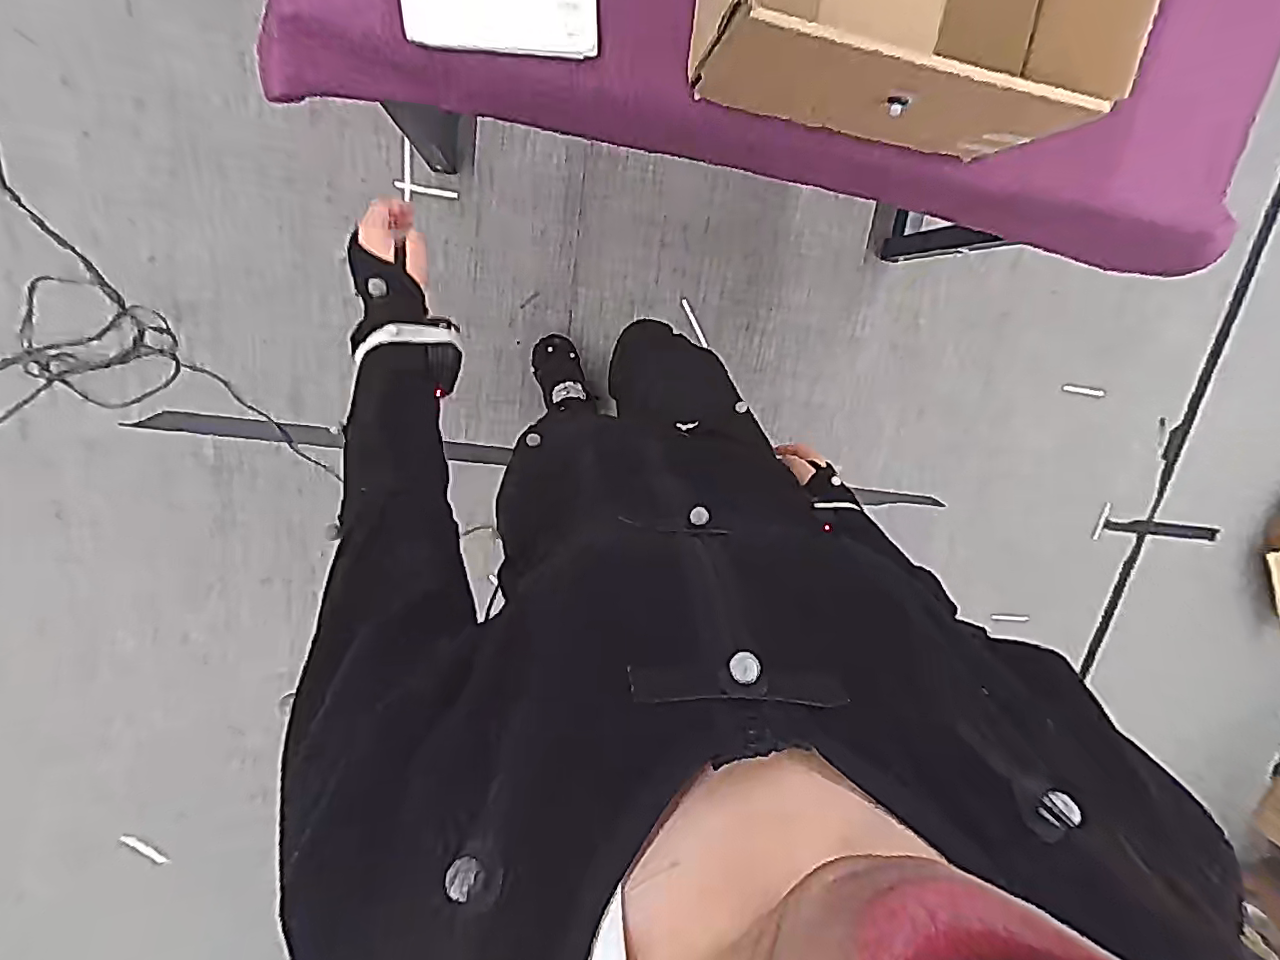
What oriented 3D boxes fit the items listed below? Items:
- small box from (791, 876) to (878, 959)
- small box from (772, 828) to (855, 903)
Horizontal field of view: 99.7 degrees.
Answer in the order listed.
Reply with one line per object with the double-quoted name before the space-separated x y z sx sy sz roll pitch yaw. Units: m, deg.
"small box" 0.568 1.334 1.603 0.179 0.176 0.168 -26 111 0
"small box" 0.558 1.286 1.761 0.179 0.176 0.168 -29 111 2
